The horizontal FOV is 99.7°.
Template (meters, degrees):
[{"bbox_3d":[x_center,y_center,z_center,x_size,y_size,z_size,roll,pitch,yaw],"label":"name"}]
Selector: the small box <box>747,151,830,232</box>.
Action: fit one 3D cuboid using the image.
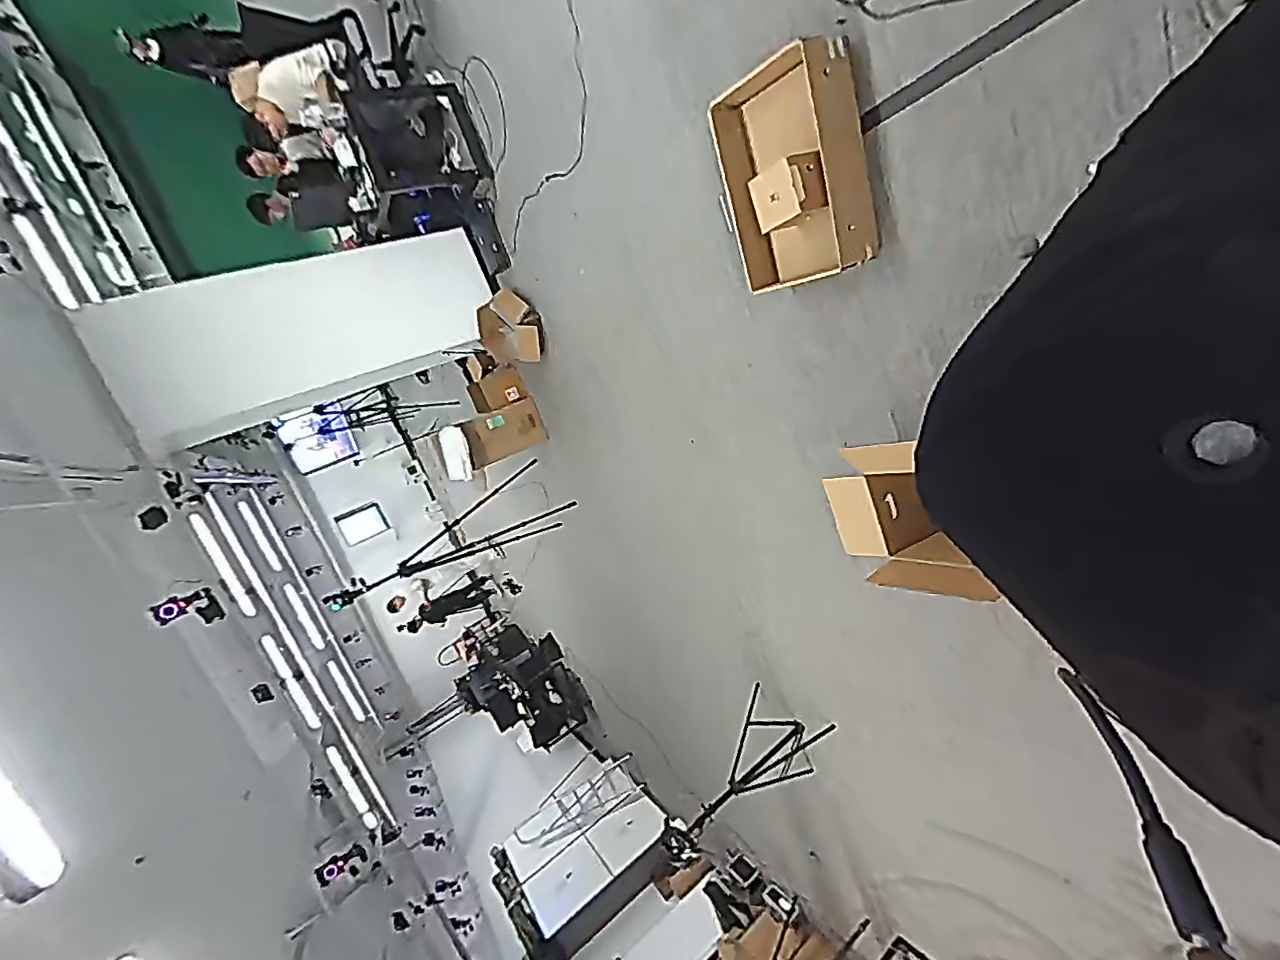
[{"bbox_3d":[0.474,-0.907,1.699,0.179,0.176,0.168,2,114,60],"label":"small box"}]
